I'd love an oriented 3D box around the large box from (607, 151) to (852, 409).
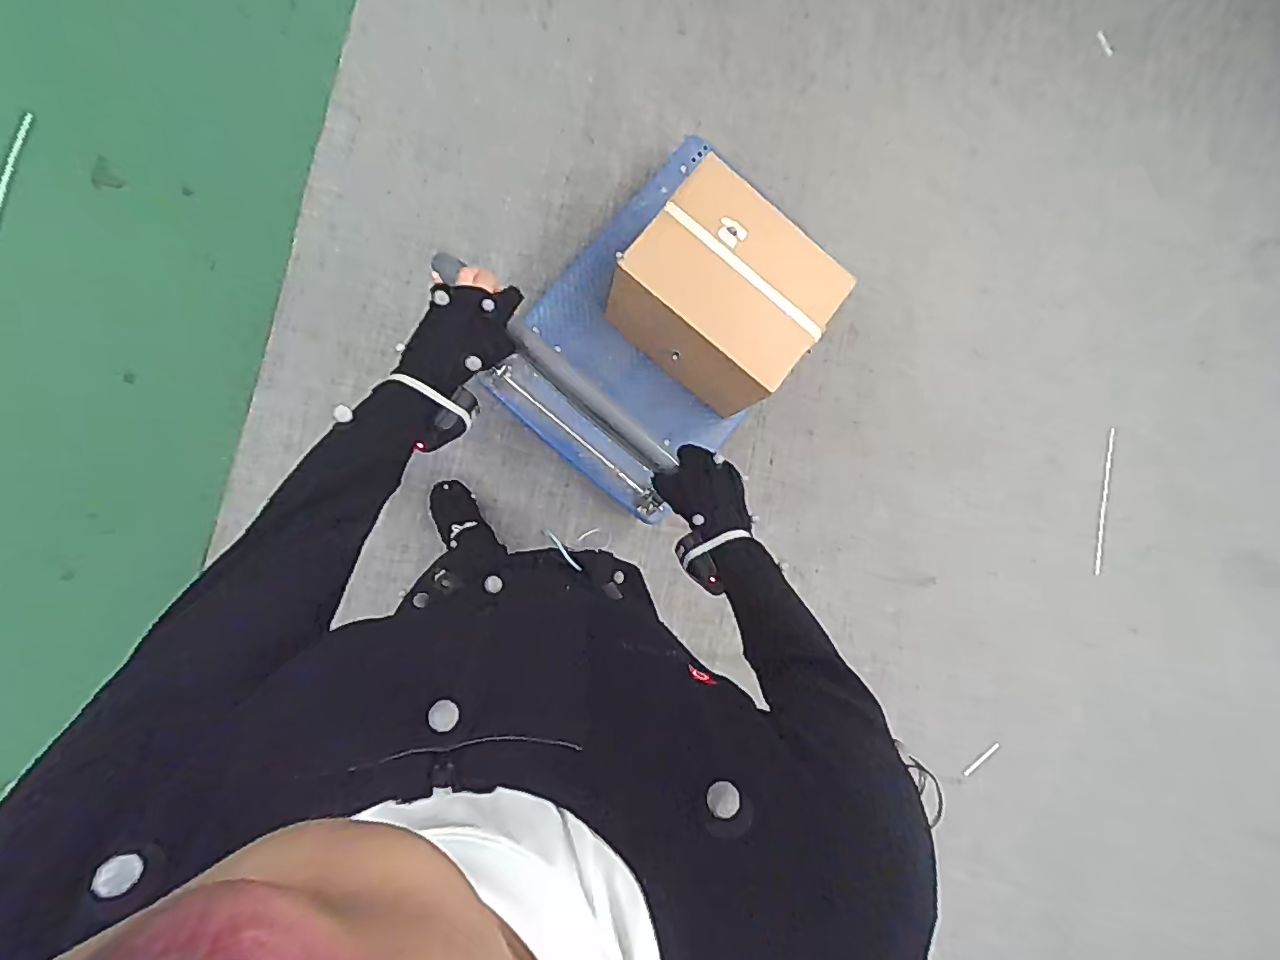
[{"bbox_3d":[0.179,-0.421,1.236,0.408,0.320,0.320,39,82,-4],"label":"large box"}]
